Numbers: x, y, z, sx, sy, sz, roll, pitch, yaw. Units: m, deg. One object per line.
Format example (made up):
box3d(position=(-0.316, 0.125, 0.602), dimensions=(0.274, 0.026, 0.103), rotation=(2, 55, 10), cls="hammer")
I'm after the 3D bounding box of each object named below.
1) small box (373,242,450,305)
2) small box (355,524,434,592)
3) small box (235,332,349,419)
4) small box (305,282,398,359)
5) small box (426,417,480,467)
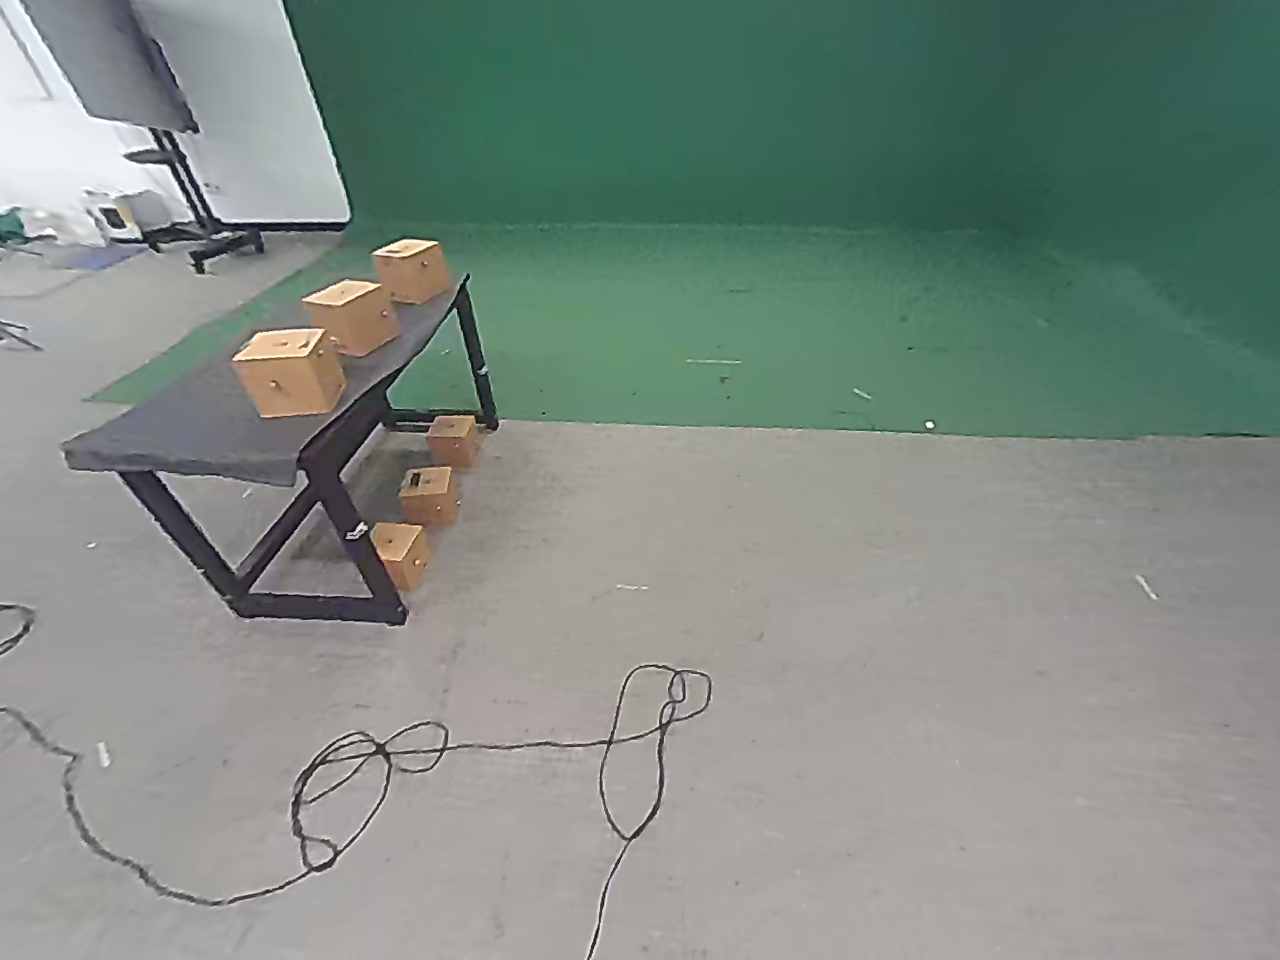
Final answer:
box3d(position=(-0.833, -0.761, 1.991), dimensions=(0.168, 0.176, 0.179), rotation=(14, 44, 21), cls="small box")
box3d(position=(-0.859, 0.277, 1.911), dimensions=(0.179, 0.176, 0.168), rotation=(4, 41, 7), cls="small box")
box3d(position=(-0.910, -0.275, 1.434), dimensions=(0.179, 0.176, 0.168), rotation=(-6, 41, -6), cls="small box")
box3d(position=(-0.892, -0.501, 1.698), dimensions=(0.168, 0.176, 0.179), rotation=(13, 44, 21), cls="small box")
box3d(position=(-0.829, -0.169, 2.424), dimensions=(0.179, 0.176, 0.168), rotation=(-1, 40, 0), cls="small box")
